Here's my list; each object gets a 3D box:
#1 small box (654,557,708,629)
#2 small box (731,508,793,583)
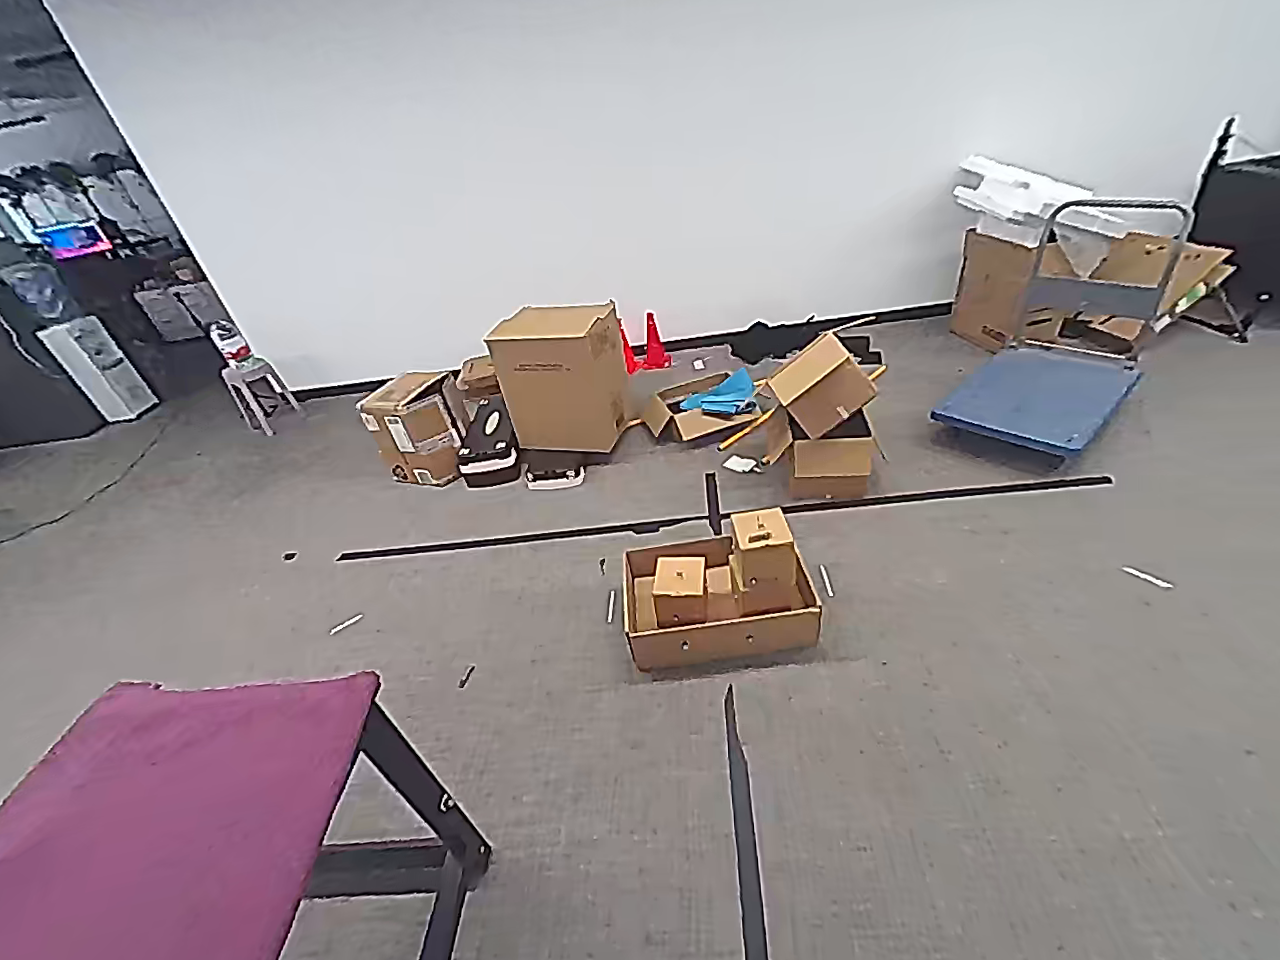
[{"bbox_3d":[0.145,0.388,1.862,0.168,0.176,0.179,-2,36,10],"label":"small box"},{"bbox_3d":[0.395,0.216,1.745,0.168,0.176,0.179,-9,34,3],"label":"small box"}]
